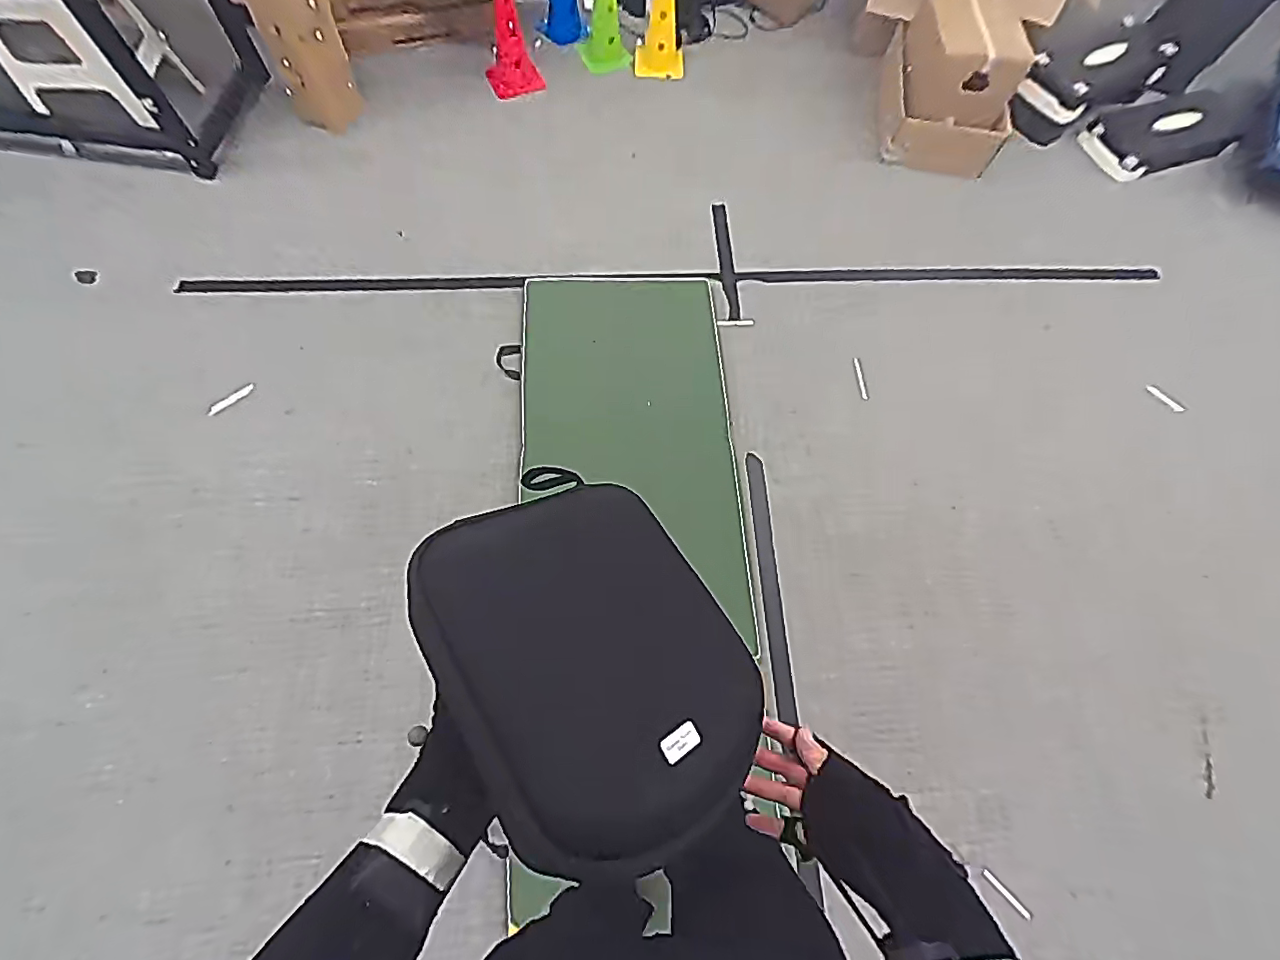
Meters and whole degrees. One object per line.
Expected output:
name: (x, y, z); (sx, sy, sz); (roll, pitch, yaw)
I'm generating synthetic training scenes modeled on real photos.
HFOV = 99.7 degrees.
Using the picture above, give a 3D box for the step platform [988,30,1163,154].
step platform: (1.816, -1.624, 2.252); (0.684, 0.204, 0.286); (-30, 73, -14)
